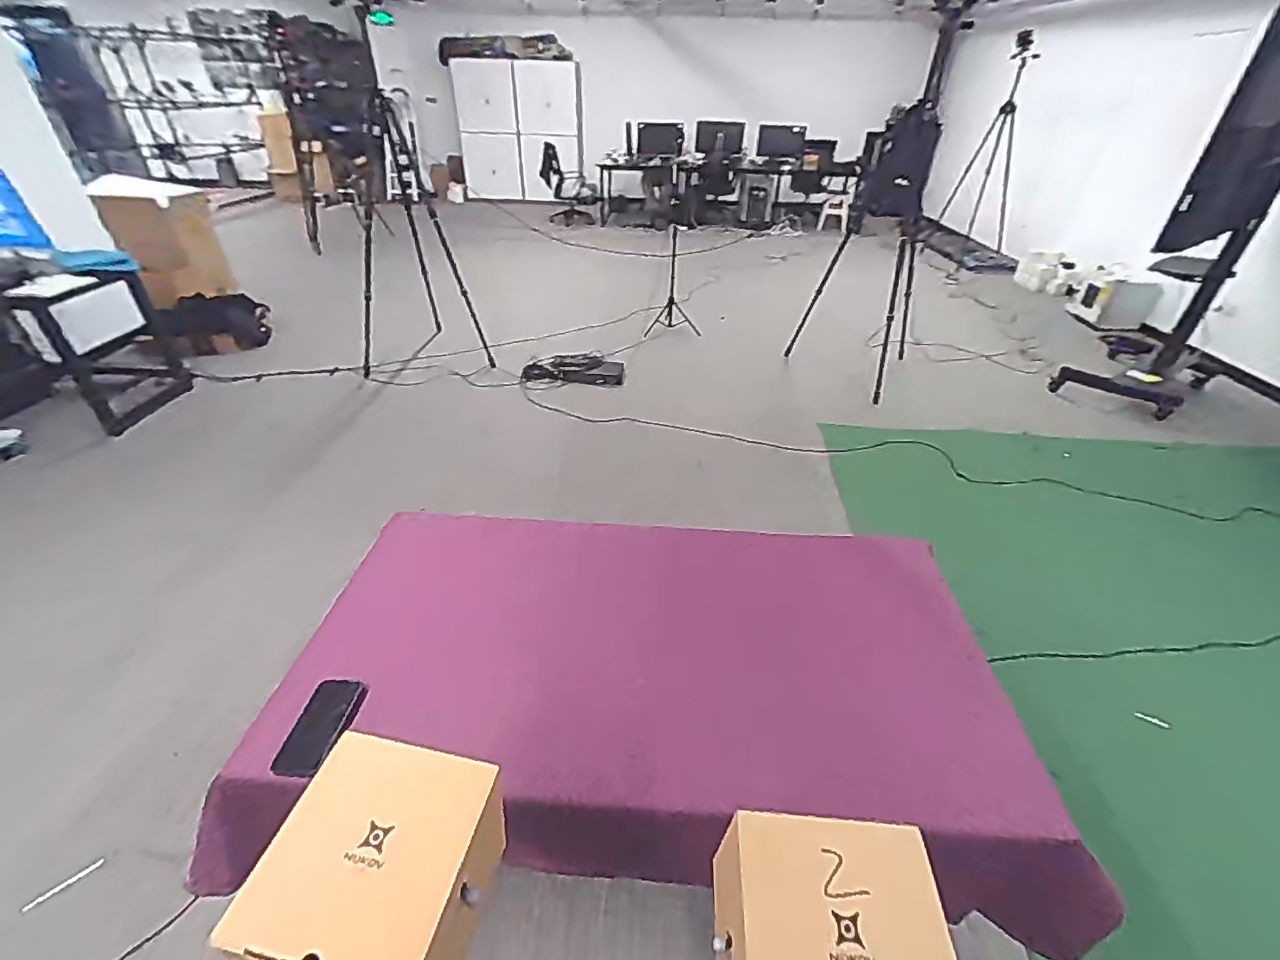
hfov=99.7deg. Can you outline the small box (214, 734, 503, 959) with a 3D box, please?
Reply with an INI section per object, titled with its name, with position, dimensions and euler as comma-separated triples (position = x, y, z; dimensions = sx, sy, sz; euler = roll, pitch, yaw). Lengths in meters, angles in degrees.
[small box]
position = -0.240, 0.383, 0.515
dimensions = 0.168, 0.176, 0.179
euler = 11, 36, 4
